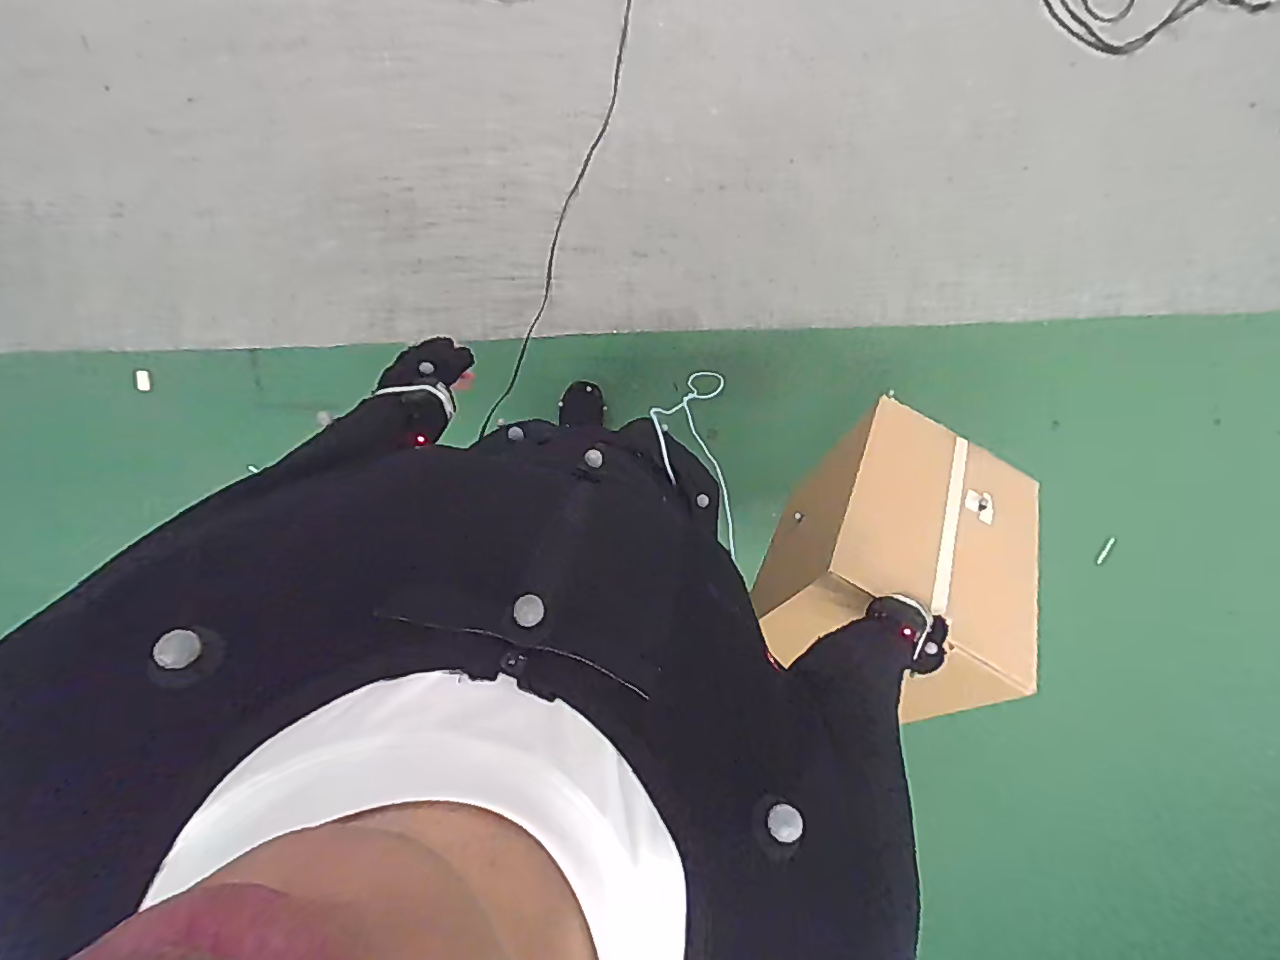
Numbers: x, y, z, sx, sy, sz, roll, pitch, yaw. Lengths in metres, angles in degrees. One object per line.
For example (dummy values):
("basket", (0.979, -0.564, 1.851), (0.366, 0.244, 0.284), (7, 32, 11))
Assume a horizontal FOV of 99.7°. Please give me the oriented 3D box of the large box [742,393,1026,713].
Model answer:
("large box", (0.429, 0.133, 0.968), (0.320, 0.320, 0.408), (31, 54, 2))
